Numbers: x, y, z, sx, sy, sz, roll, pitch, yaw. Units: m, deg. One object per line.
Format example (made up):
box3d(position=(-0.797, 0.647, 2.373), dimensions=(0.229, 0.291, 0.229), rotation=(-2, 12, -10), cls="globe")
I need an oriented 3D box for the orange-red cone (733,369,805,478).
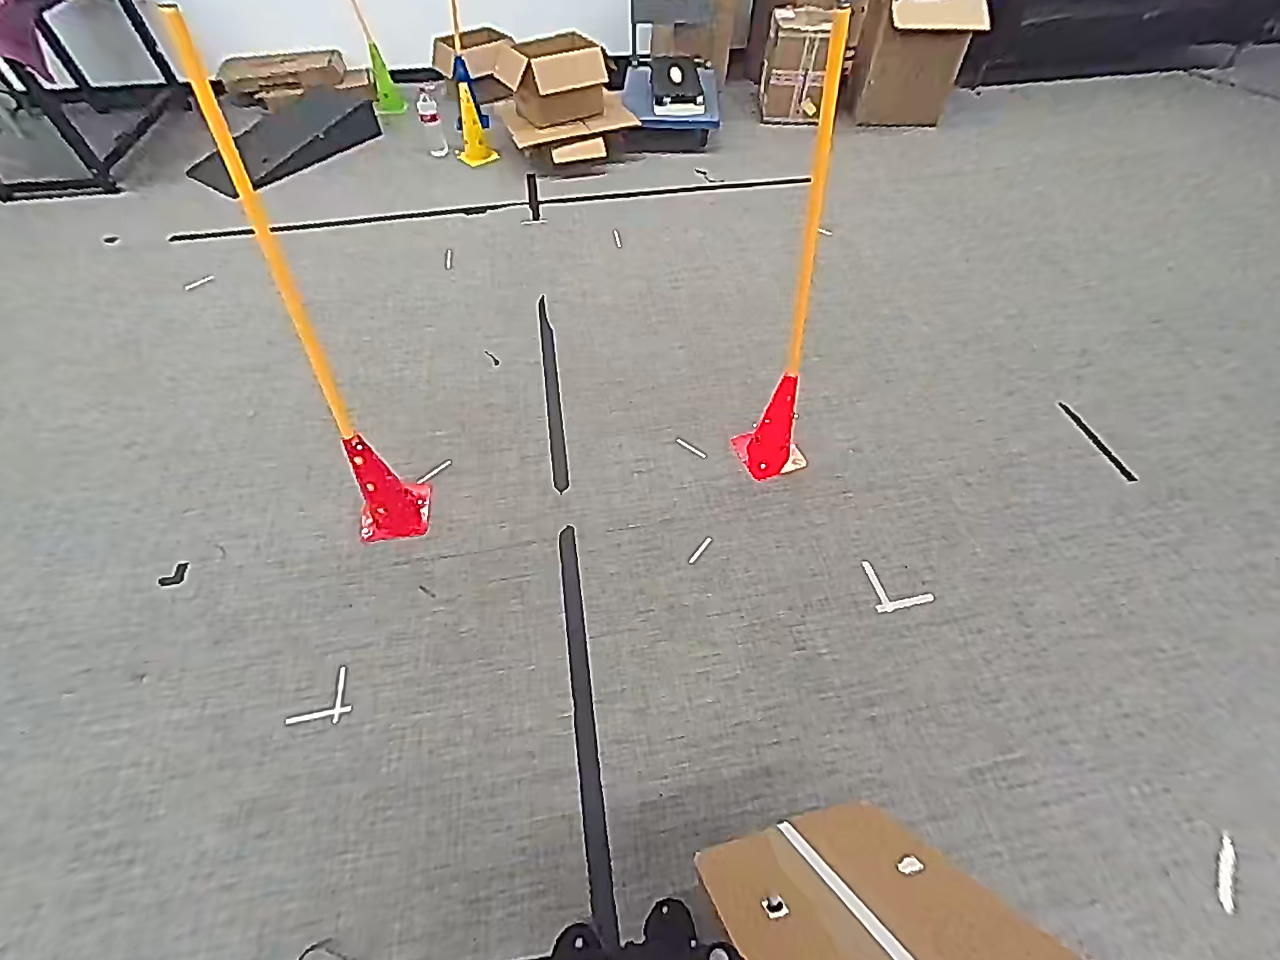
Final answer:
box3d(position=(0.434, -0.199, 1.674), dimensions=(0.199, 0.360, 0.198), rotation=(-15, 55, -12), cls="orange-red cone")
